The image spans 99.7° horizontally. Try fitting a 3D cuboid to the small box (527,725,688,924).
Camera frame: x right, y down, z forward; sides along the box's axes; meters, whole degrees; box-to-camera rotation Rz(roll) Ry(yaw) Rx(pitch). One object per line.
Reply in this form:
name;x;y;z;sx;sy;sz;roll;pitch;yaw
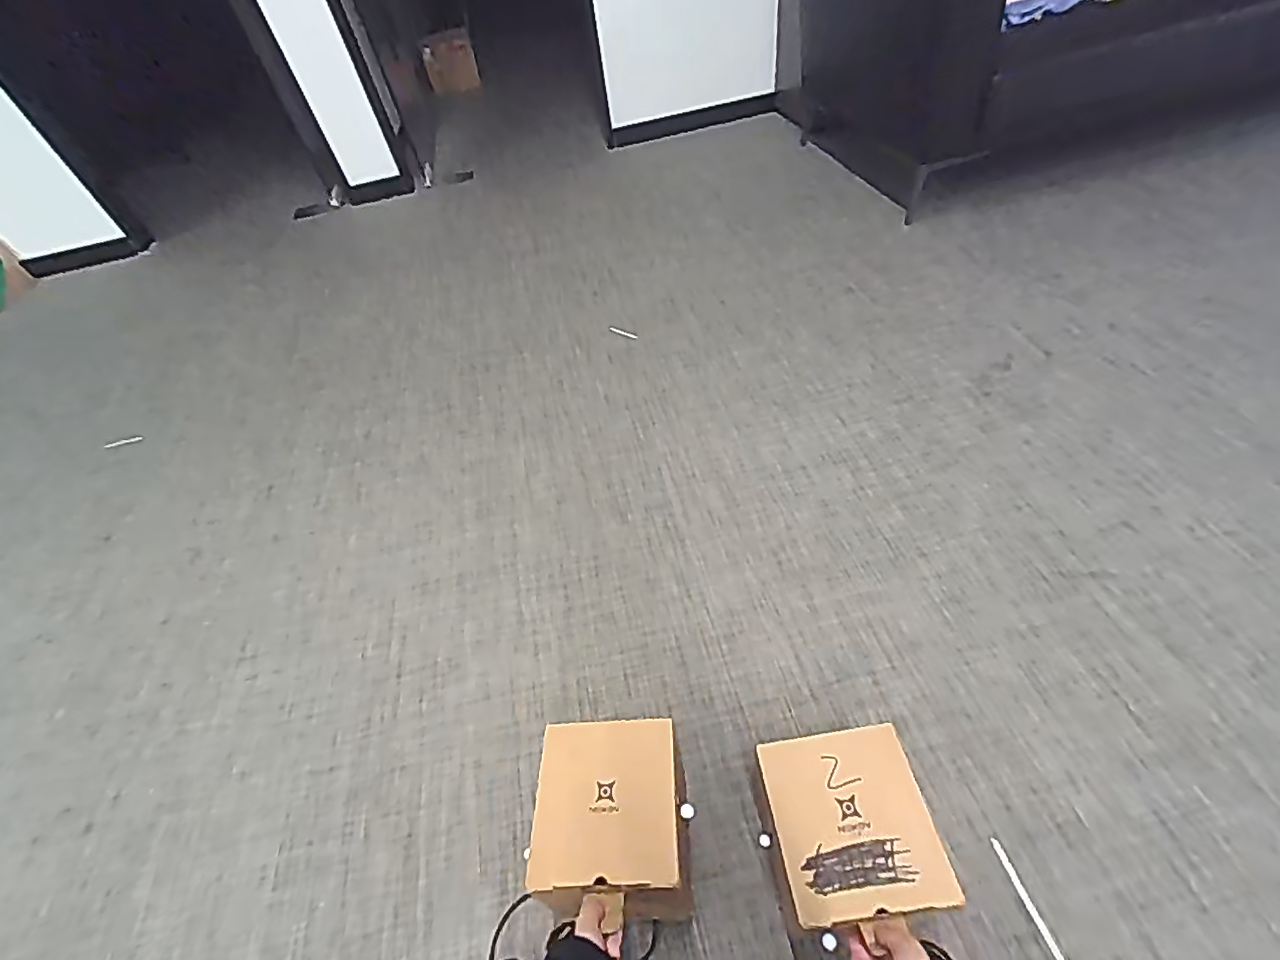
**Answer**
small box;-0.030;0.434;0.682;0.168;0.176;0.179;-6;44;5
